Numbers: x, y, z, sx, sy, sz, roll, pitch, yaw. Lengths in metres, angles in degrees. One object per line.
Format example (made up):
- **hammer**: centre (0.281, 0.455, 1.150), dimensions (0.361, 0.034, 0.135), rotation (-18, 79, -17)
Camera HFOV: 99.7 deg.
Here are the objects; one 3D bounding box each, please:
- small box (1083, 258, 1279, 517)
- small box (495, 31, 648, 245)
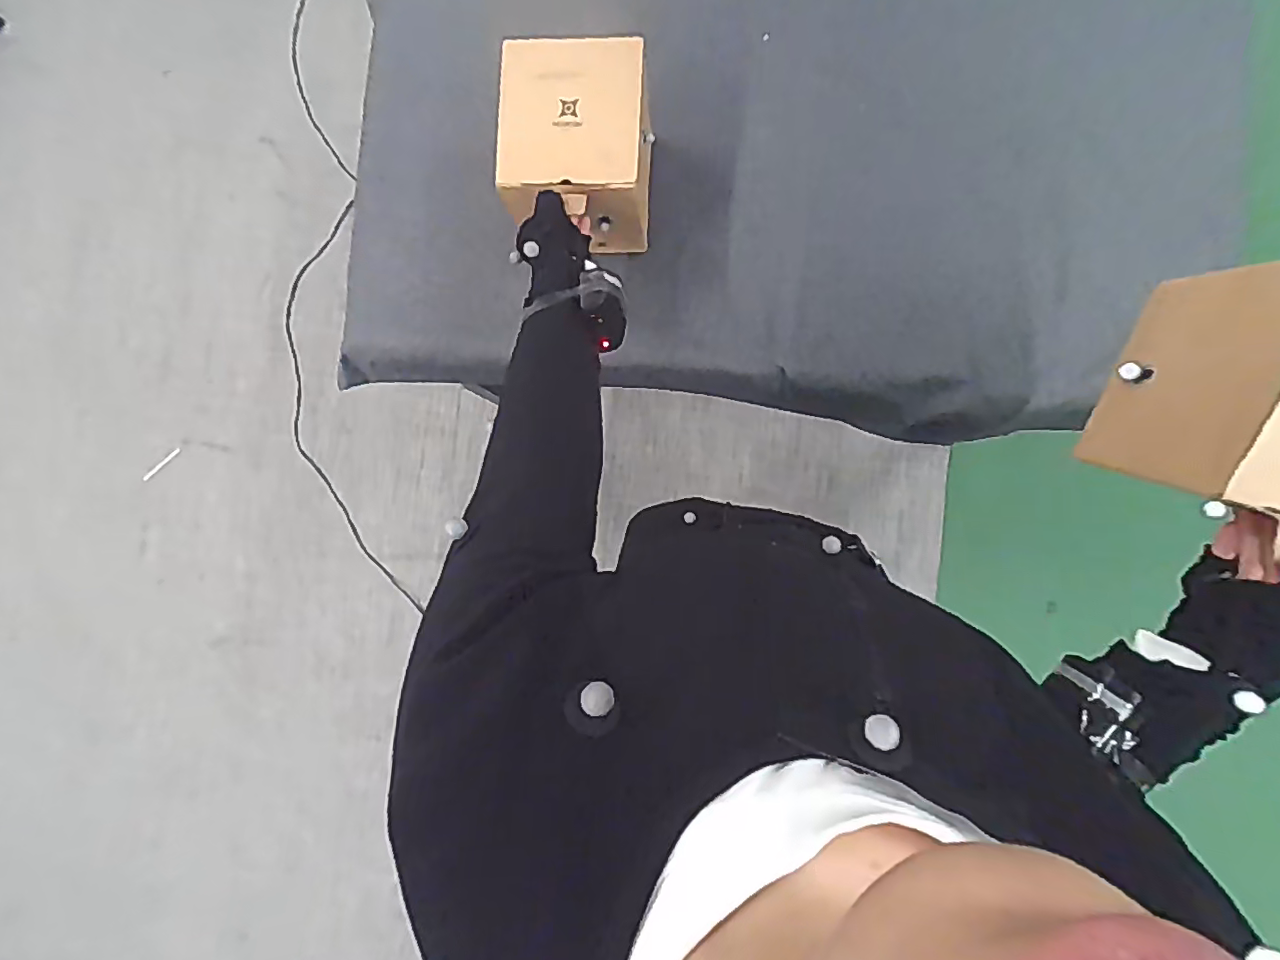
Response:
- **small box**: centre (0.520, -0.065, 0.439), dimensions (0.168, 0.176, 0.179), rotation (17, 105, 2)
- **small box**: centre (-0.076, -0.420, 0.692), dimensions (0.168, 0.176, 0.179), rotation (2, 87, 3)
